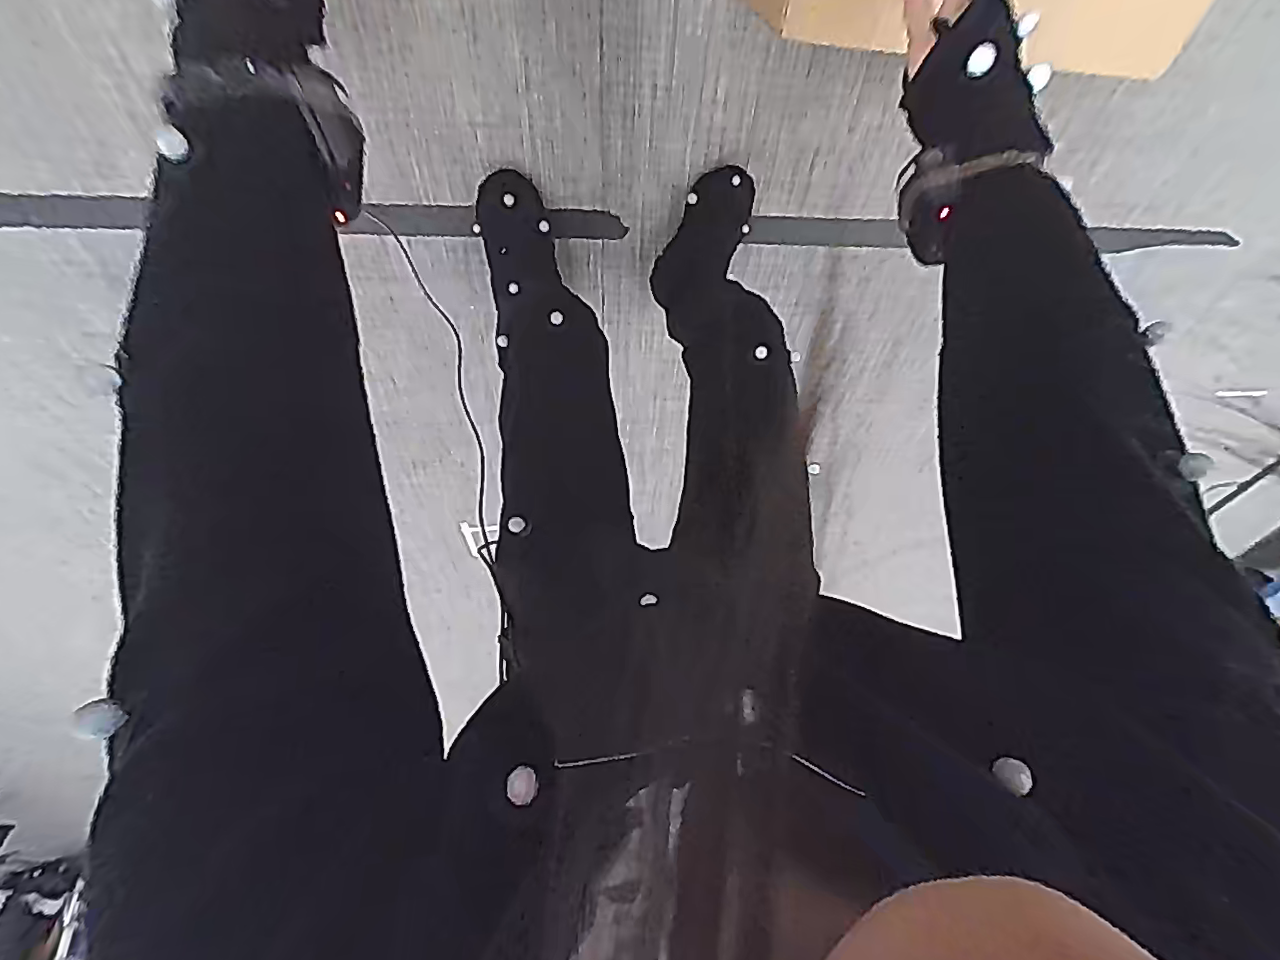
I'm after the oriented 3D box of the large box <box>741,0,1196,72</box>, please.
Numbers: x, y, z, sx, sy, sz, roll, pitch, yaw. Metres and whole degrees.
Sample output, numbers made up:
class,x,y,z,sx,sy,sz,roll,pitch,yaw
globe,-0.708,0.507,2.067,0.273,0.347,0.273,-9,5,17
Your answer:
class,x,y,z,sx,sy,sz,roll,pitch,yaw
large box,0.326,-0.630,0.516,0.408,0.320,0.320,-1,140,-9
